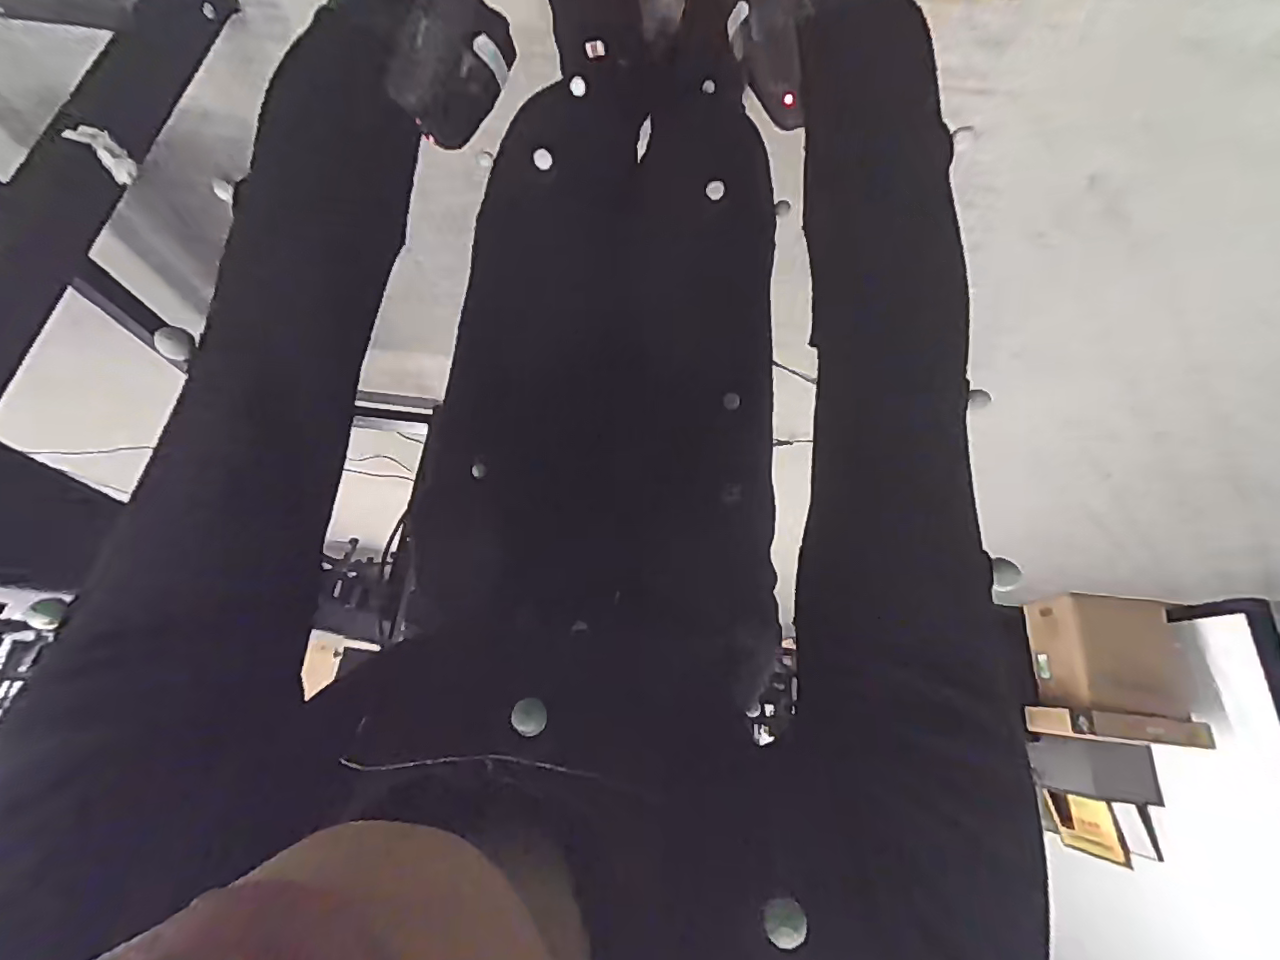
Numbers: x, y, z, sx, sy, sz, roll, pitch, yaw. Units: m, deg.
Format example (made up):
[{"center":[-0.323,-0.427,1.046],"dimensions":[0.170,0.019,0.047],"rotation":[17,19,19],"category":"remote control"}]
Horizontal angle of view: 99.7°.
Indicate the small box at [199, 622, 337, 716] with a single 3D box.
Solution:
[{"center":[-0.790,0.409,1.177],"dimensions":[0.179,0.176,0.168],"rotation":[9,158,-1],"category":"small box"}]
